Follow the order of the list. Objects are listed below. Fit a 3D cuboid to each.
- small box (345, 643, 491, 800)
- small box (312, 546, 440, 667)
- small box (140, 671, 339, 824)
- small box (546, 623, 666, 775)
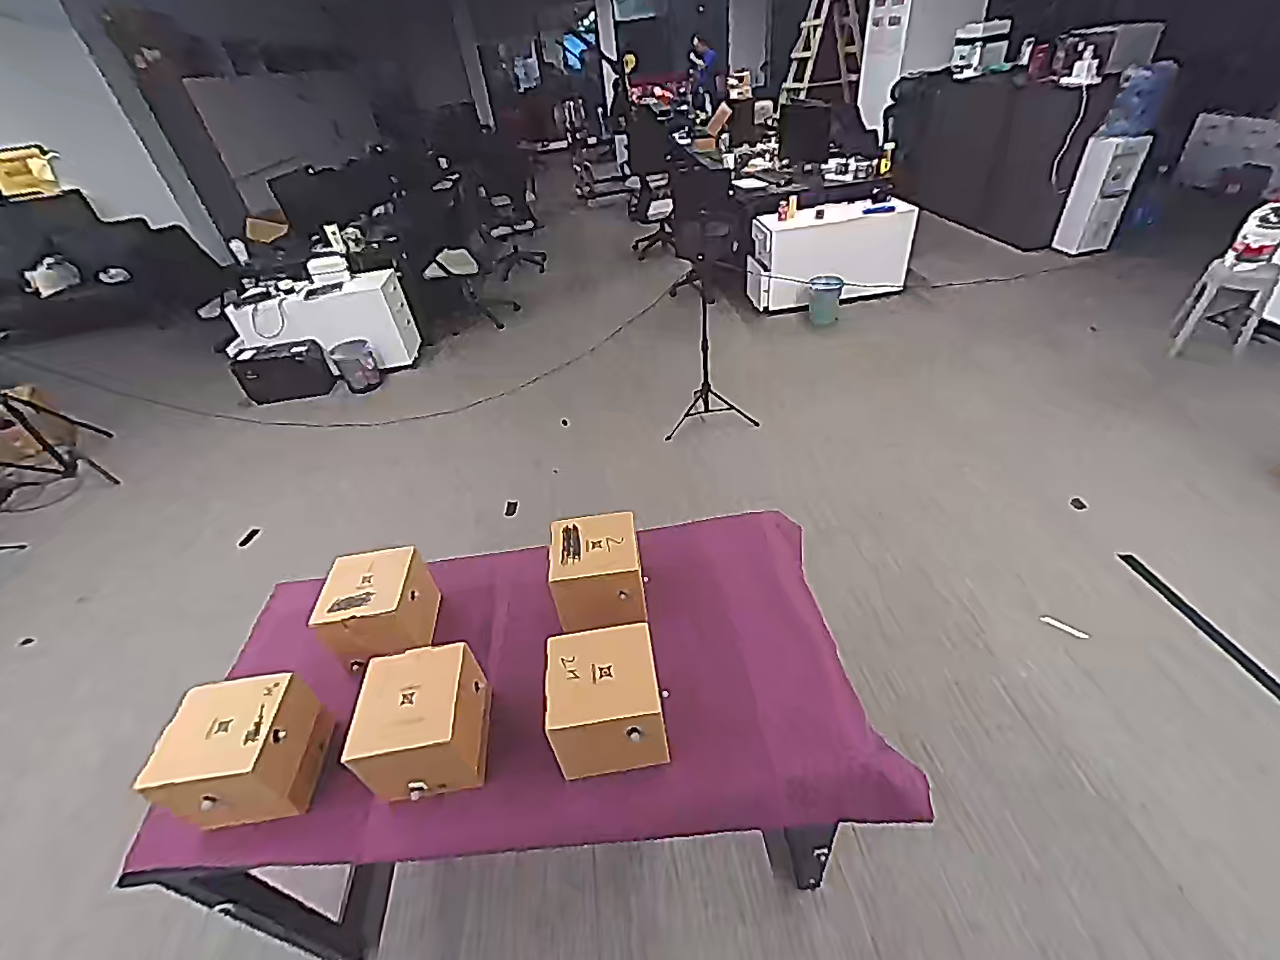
[{"bbox_3d":[-0.360,0.408,0.917,0.168,0.176,0.179,-10,40,-1],"label":"small box"},{"bbox_3d":[-0.530,0.267,1.119,0.168,0.176,0.179,-9,39,-2],"label":"small box"},{"bbox_3d":[-0.652,0.451,0.909,0.179,0.176,0.168,-9,39,-1],"label":"small box"},{"bbox_3d":[-0.054,0.368,0.909,0.179,0.176,0.168,-9,38,-1],"label":"small box"}]
